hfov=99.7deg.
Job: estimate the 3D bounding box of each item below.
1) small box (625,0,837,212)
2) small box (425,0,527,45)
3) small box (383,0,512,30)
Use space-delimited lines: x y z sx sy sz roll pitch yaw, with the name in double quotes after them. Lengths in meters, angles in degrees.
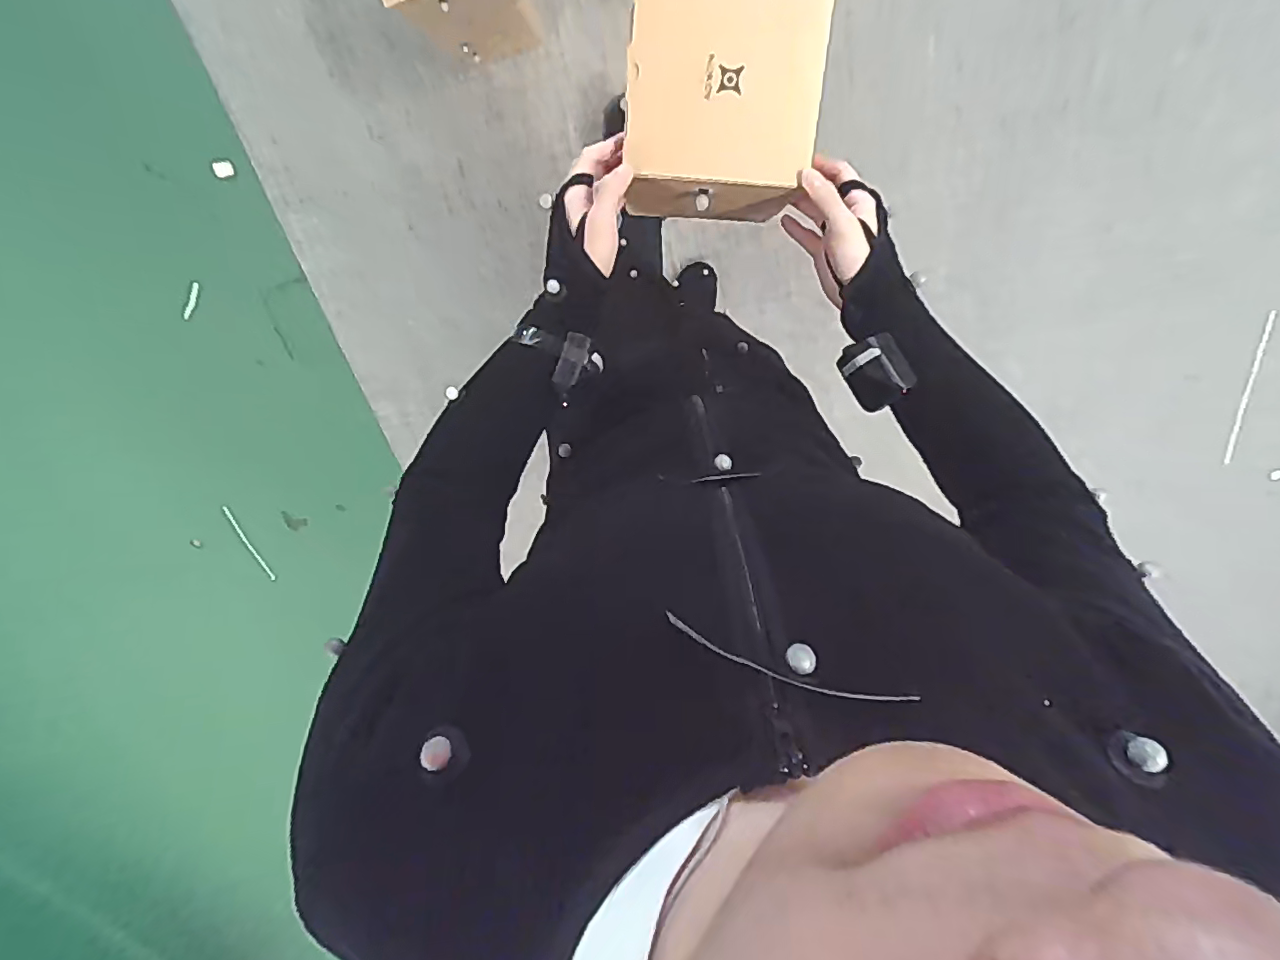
0.080 -0.386 0.557 0.179 0.176 0.168 4 104 0 "small box"
-0.313 -0.901 0.951 0.168 0.176 0.179 -13 117 7 "small box"
-0.305 -0.814 0.811 0.179 0.176 0.168 -12 118 6 "small box"
